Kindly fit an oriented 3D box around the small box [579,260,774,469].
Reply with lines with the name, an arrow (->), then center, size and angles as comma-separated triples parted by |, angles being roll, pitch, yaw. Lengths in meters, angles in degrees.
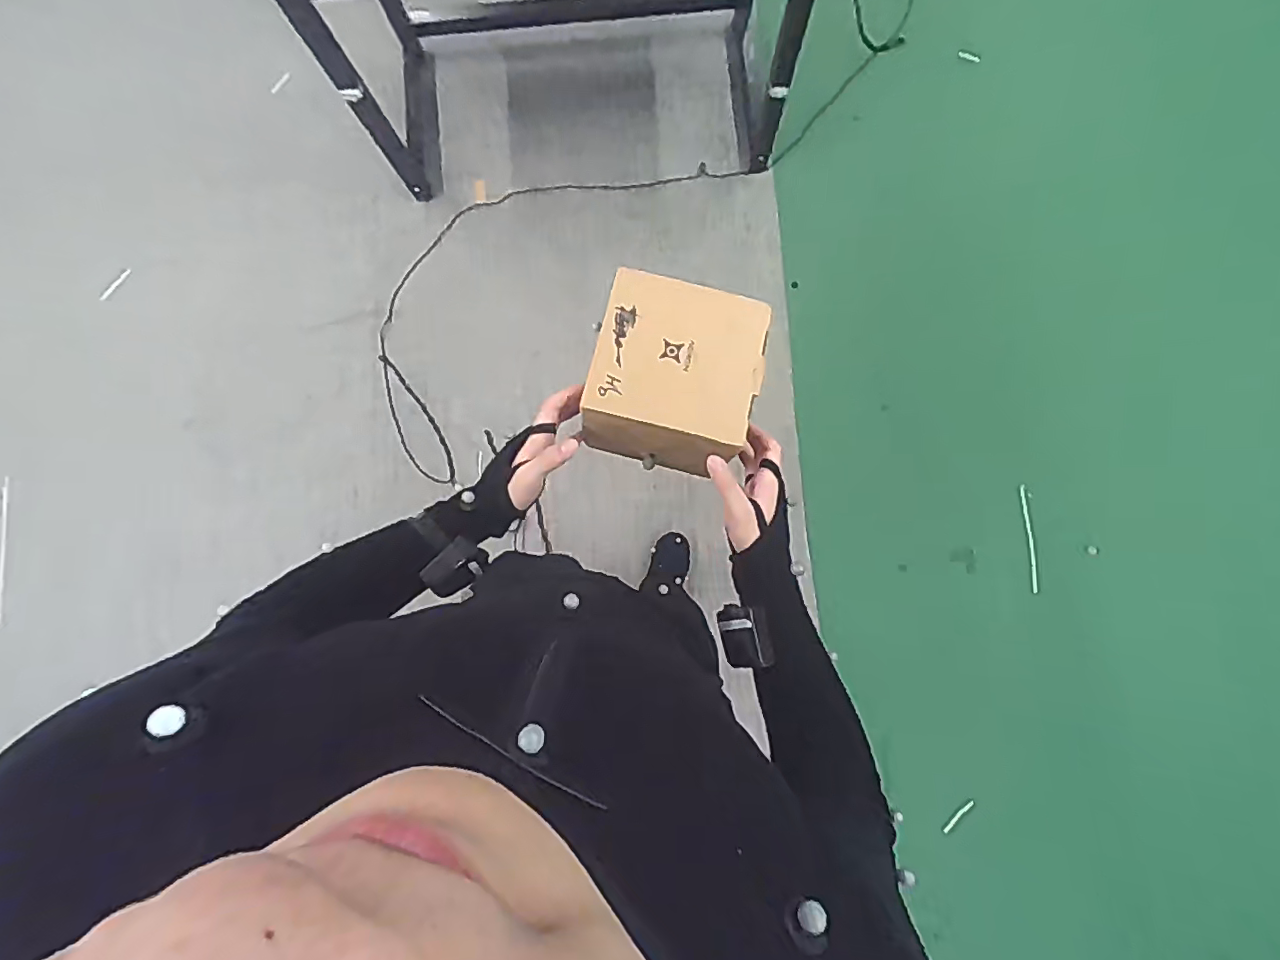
small box -> 0.033, -0.119, 0.635 | 0.179, 0.176, 0.168 | 14, 77, -2
